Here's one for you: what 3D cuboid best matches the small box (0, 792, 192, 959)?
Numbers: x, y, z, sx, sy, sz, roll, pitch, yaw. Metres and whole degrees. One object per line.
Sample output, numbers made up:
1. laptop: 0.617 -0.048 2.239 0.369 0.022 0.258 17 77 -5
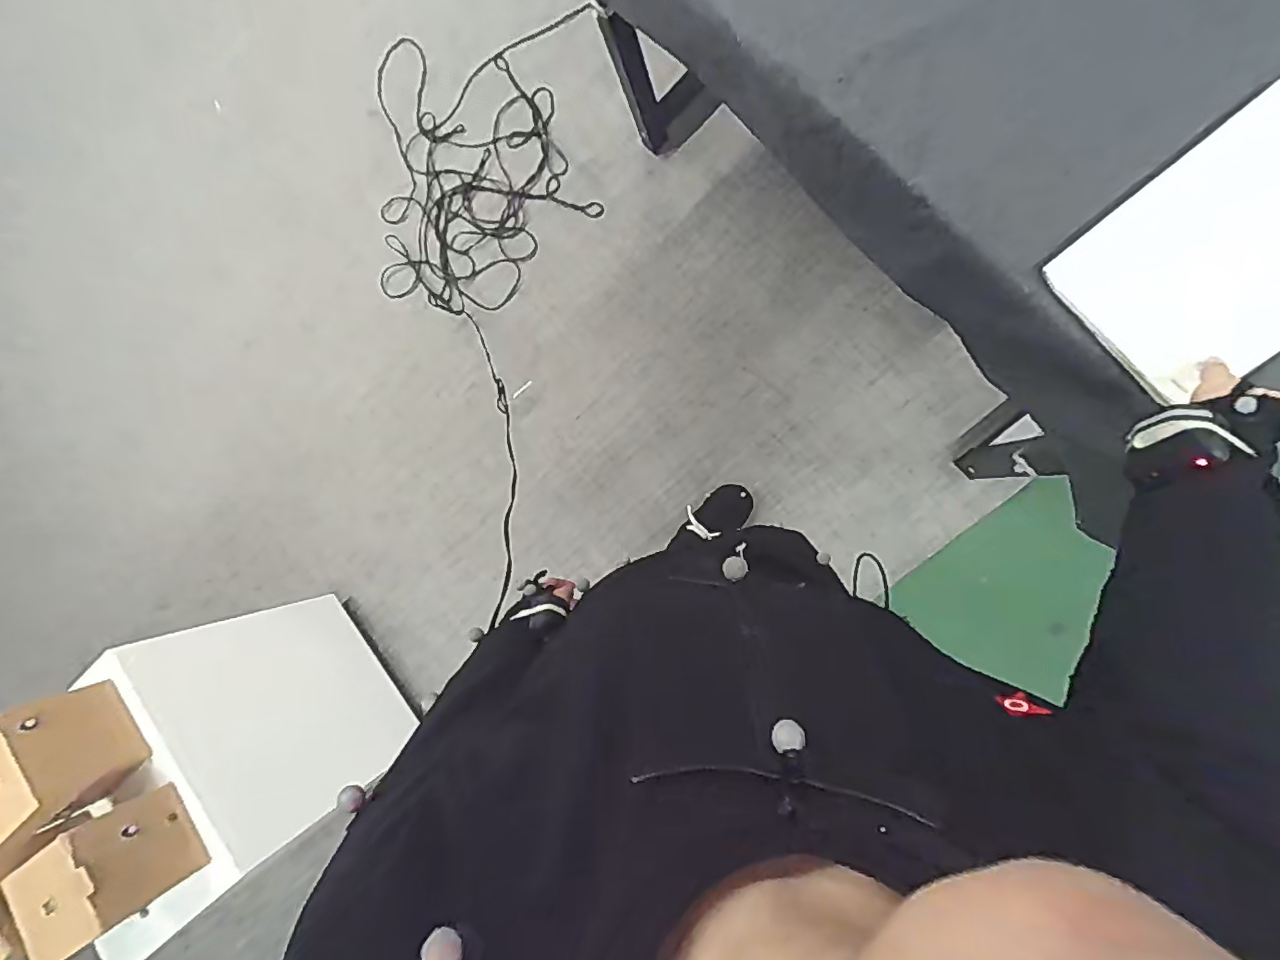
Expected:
1. small box: -0.907 0.670 0.909 0.179 0.176 0.168 -37 80 12
